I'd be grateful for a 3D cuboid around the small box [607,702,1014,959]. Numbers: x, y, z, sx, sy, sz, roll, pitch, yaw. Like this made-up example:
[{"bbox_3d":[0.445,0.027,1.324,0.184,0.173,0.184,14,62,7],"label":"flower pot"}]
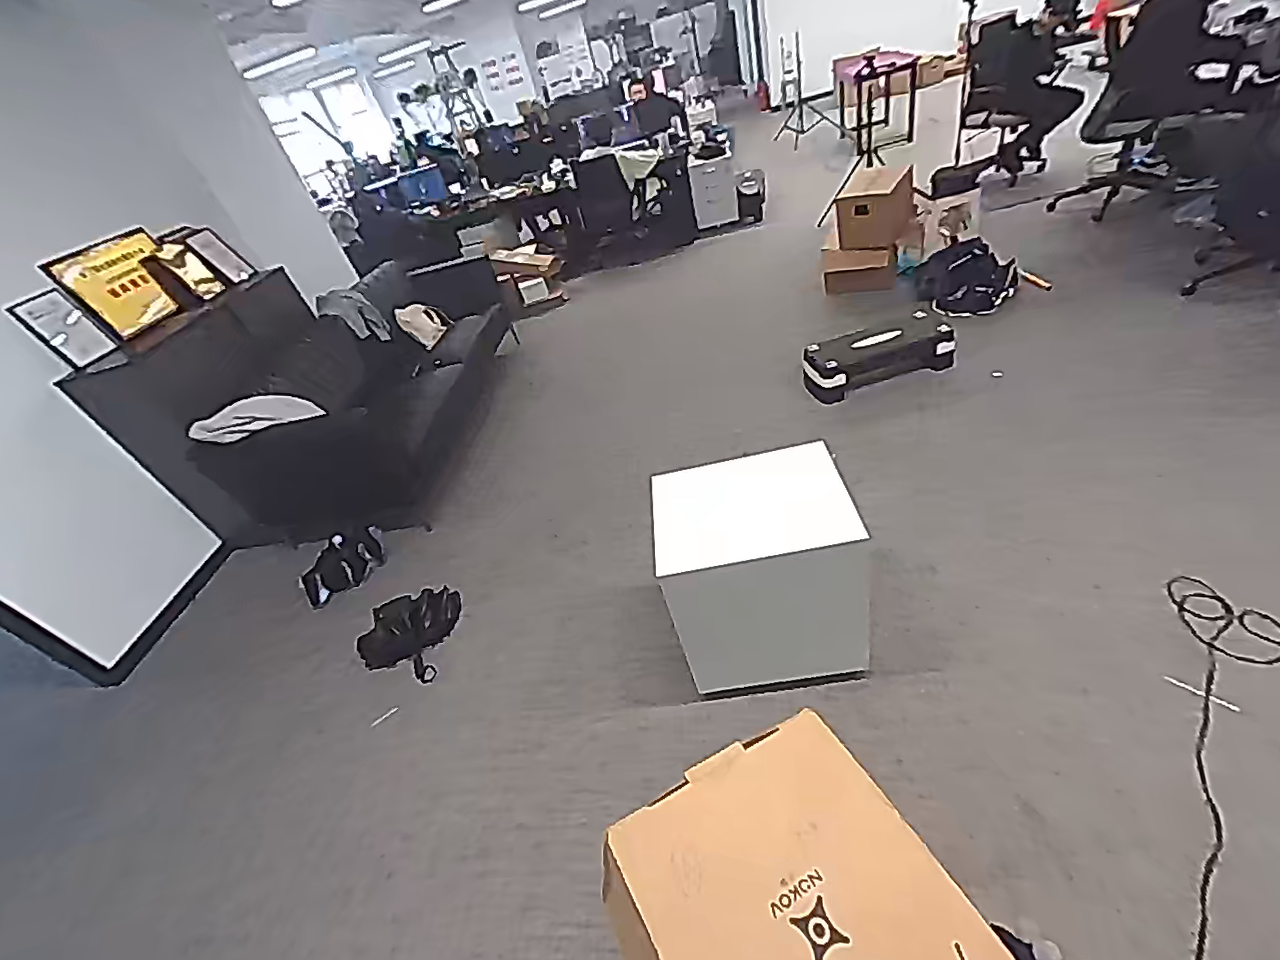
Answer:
[{"bbox_3d":[0.084,0.291,0.353,0.168,0.176,0.179,-18,45,-23],"label":"small box"}]
